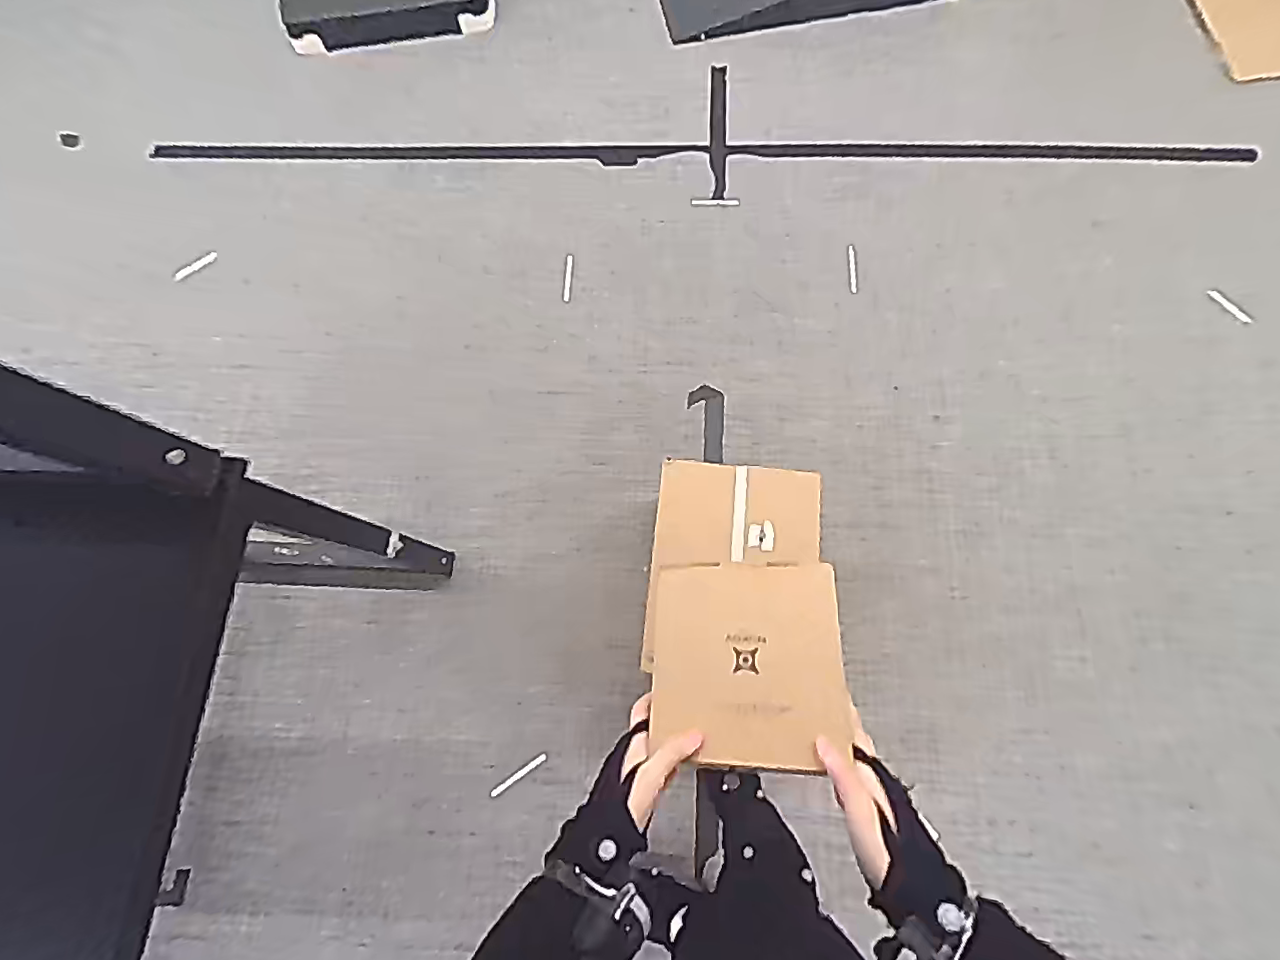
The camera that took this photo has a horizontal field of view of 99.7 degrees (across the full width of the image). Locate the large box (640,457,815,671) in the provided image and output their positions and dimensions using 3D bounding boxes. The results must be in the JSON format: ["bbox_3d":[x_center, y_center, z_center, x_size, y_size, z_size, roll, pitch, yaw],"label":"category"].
[{"bbox_3d":[0.173,0.199,1.146,0.320,0.320,0.408,6,74,2],"label":"large box"}]

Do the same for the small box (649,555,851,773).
[{"bbox_3d":[0.109,0.189,0.550,0.168,0.176,0.179,-1,60,12],"label":"small box"}]
